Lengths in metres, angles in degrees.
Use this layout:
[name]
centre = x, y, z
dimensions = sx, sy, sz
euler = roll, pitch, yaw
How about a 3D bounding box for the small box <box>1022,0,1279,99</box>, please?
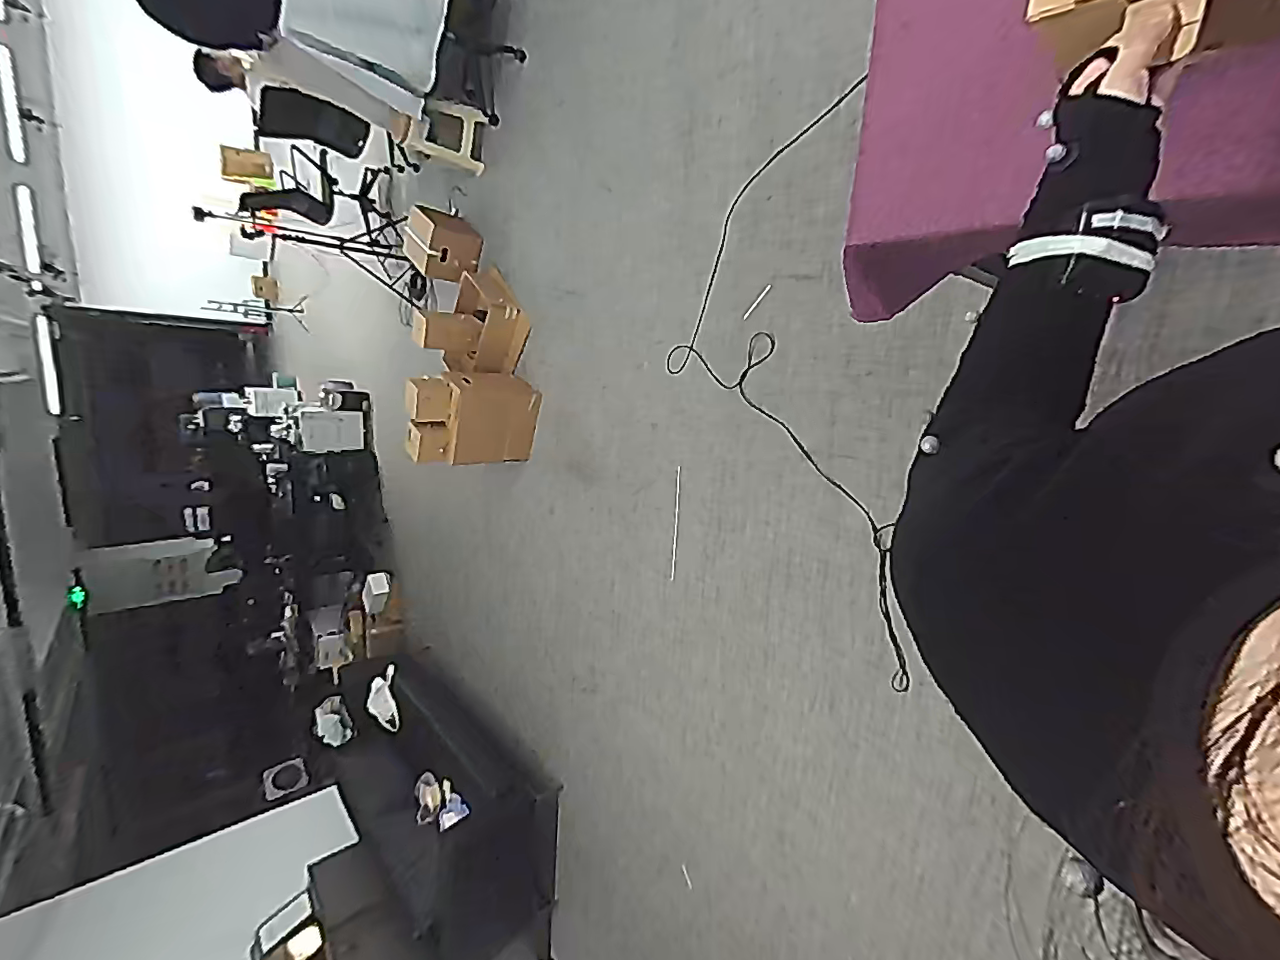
[small box]
centre = 0.438, -0.450, 0.433
dimensions = 0.168, 0.176, 0.179
euler = 16, 110, 44
